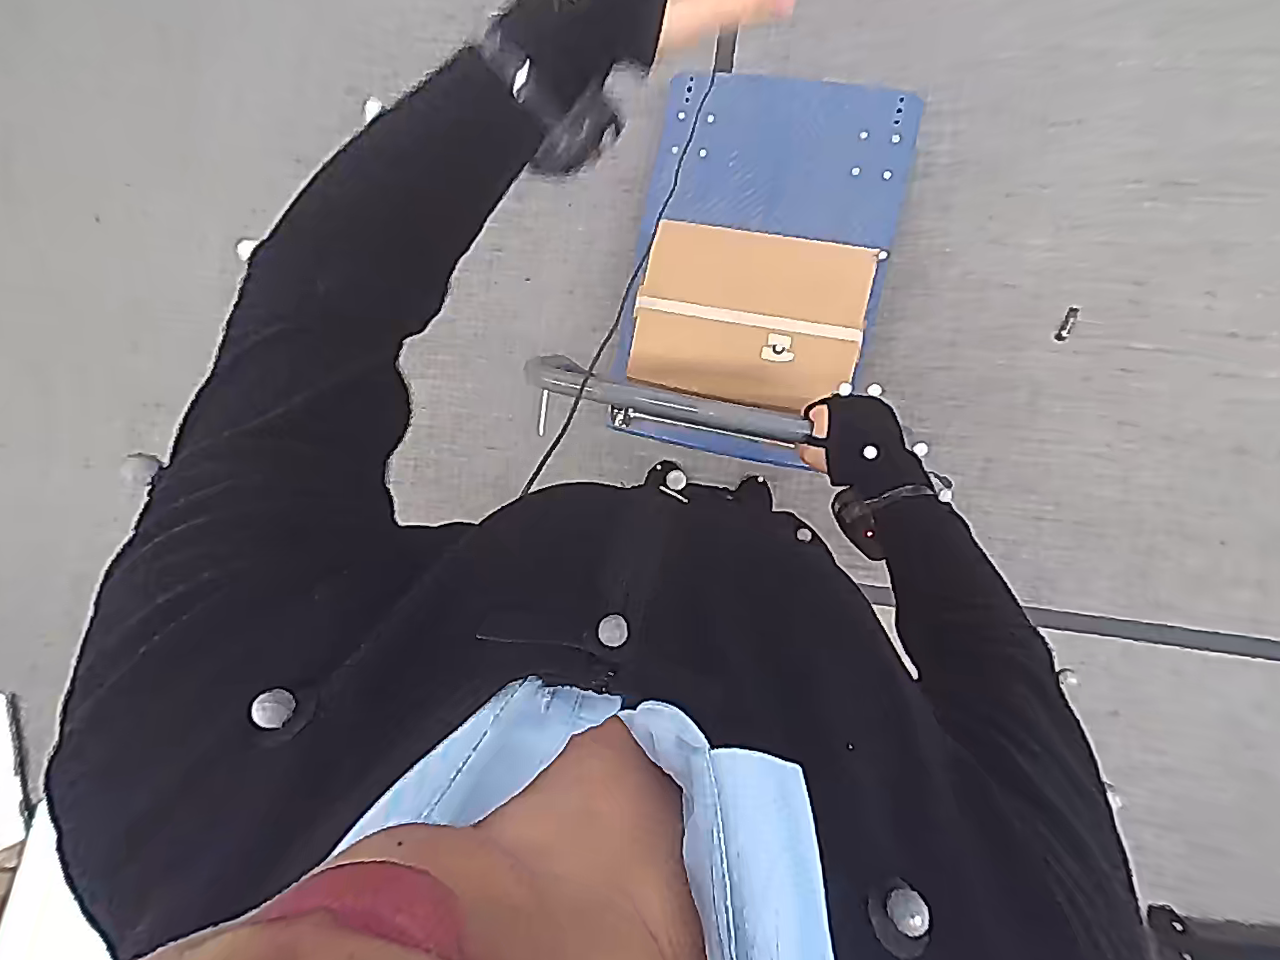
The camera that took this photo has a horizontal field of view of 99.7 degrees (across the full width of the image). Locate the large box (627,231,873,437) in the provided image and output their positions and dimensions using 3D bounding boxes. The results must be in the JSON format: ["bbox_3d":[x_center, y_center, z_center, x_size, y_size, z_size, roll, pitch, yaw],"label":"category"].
[{"bbox_3d":[0.213,-0.283,1.137,0.408,0.320,0.320,12,94,8],"label":"large box"}]
